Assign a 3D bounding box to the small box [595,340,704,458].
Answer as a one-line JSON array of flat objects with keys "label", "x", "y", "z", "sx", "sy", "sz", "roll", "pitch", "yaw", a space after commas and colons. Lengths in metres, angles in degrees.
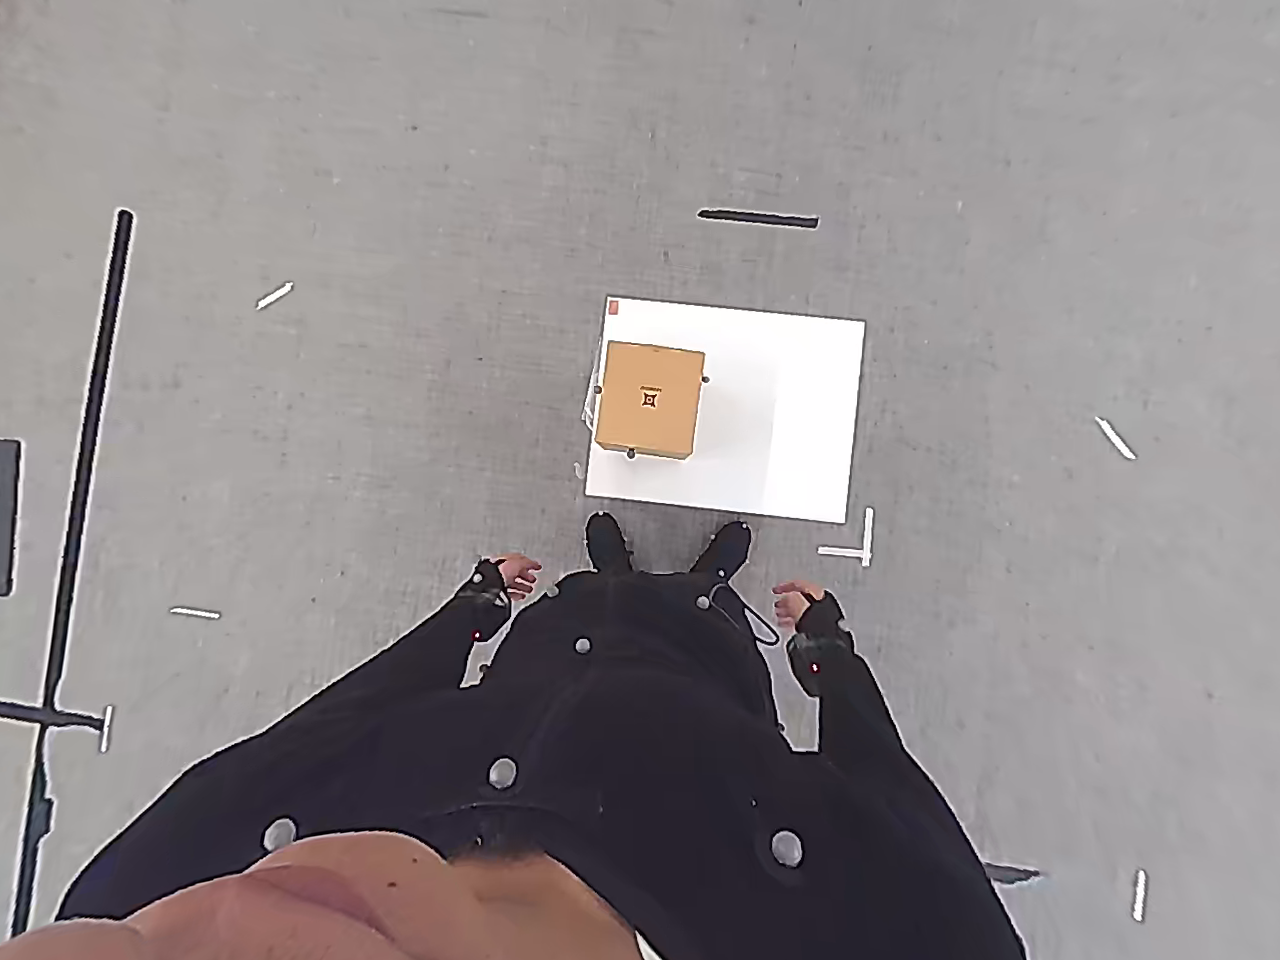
[{"label": "small box", "x": 0.019, "y": -0.137, "z": 0.979, "sx": 0.168, "sy": 0.176, "sz": 0.179, "roll": 7, "pitch": 88, "yaw": 1}]
